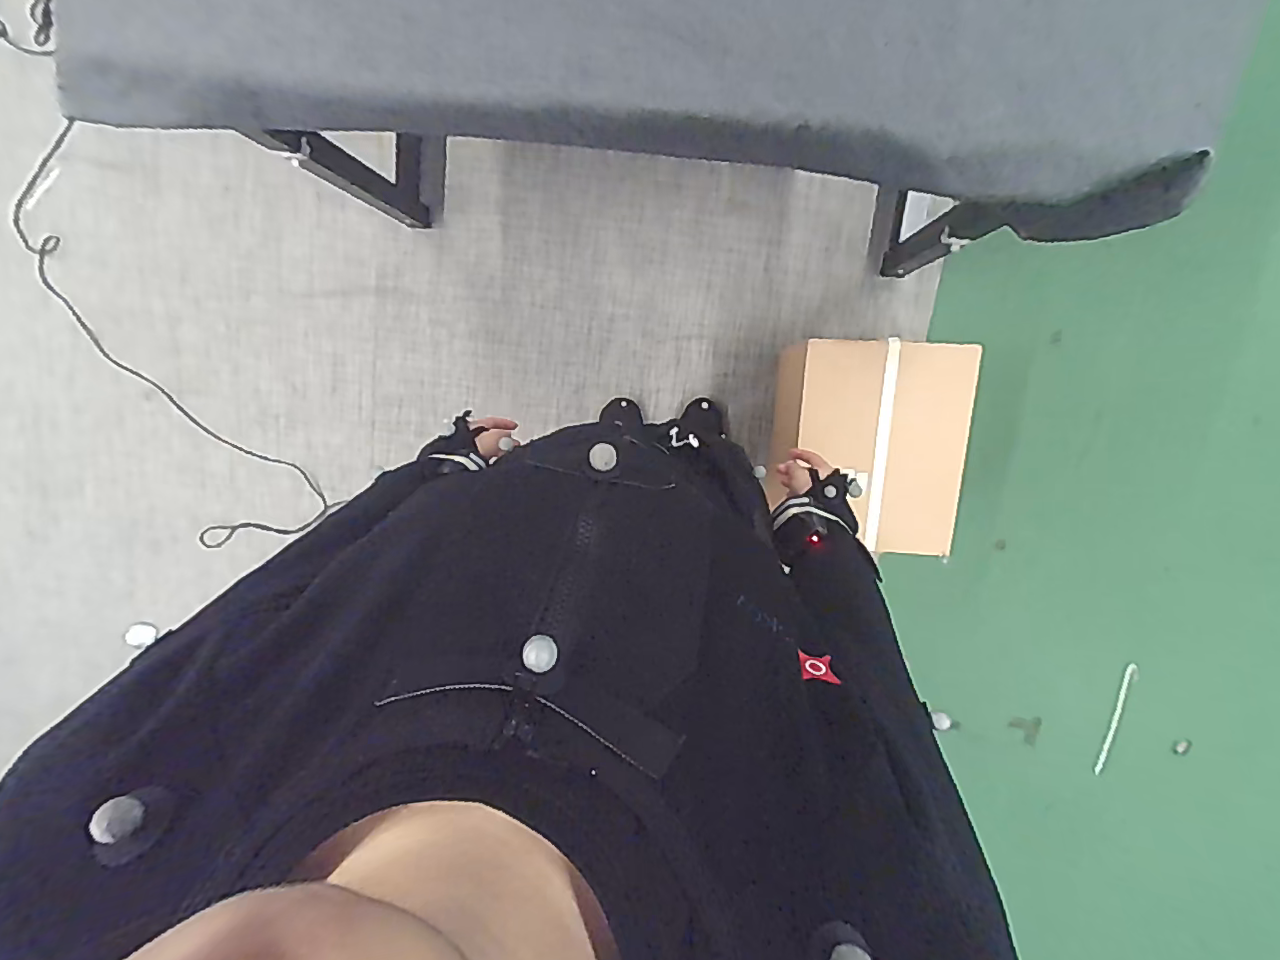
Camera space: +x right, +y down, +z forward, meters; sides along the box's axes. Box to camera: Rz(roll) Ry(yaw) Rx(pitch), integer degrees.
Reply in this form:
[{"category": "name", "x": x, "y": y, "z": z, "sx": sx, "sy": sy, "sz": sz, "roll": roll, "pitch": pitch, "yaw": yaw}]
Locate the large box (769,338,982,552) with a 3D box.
[{"category": "large box", "x": 0.468, "y": -0.091, "z": 1.163, "sx": 0.320, "sy": 0.320, "sz": 0.408, "roll": 3, "pitch": 101, "yaw": 4}]
